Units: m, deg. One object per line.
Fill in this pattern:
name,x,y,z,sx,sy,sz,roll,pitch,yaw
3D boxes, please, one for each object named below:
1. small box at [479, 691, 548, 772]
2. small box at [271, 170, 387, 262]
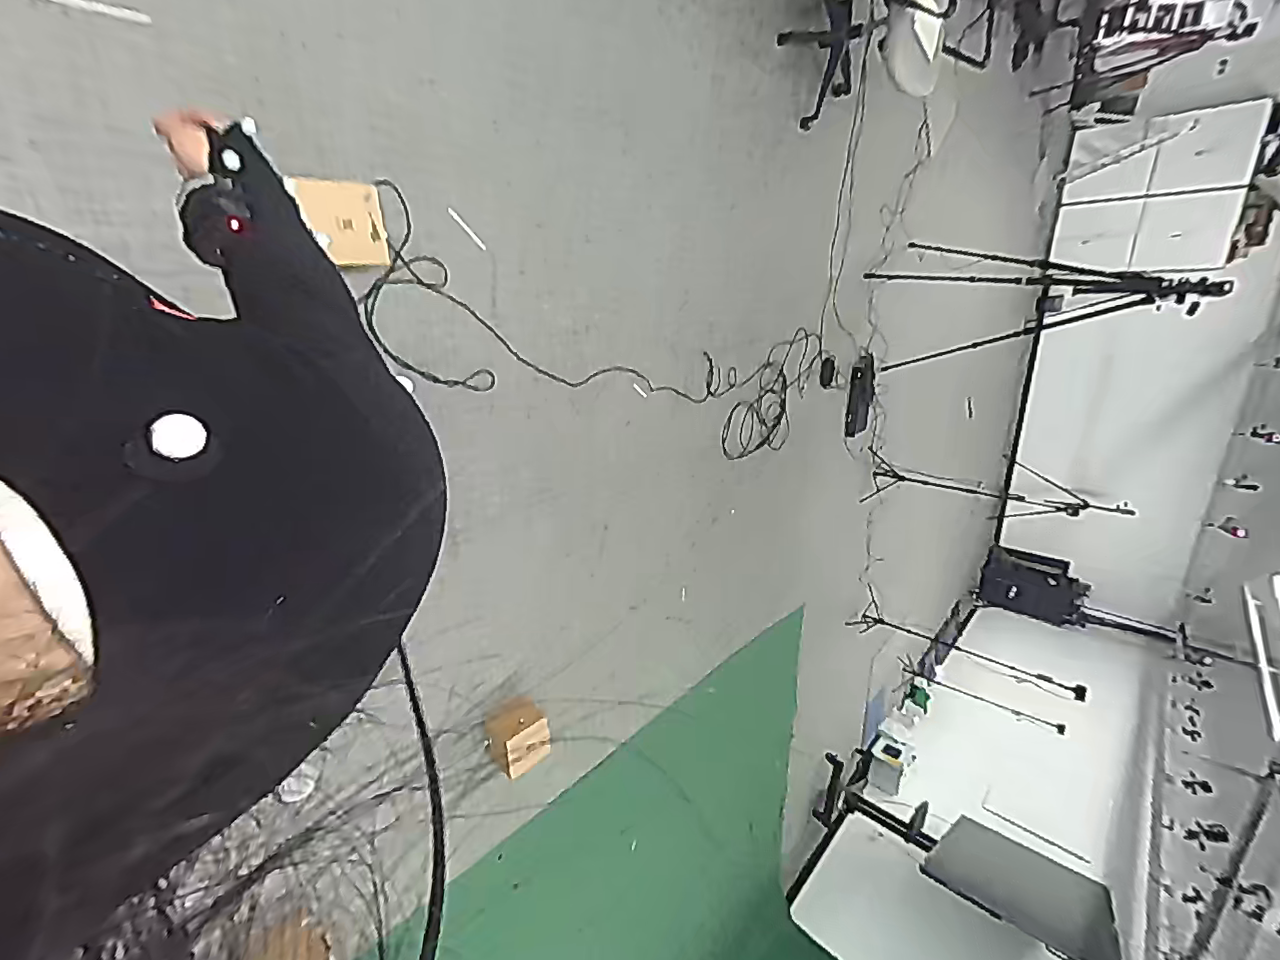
small box,-0.458,0.904,1.964,0.179,0.176,0.168,-20,115,-42
small box,-0.704,-0.583,1.216,0.179,0.176,0.168,-22,118,-41
